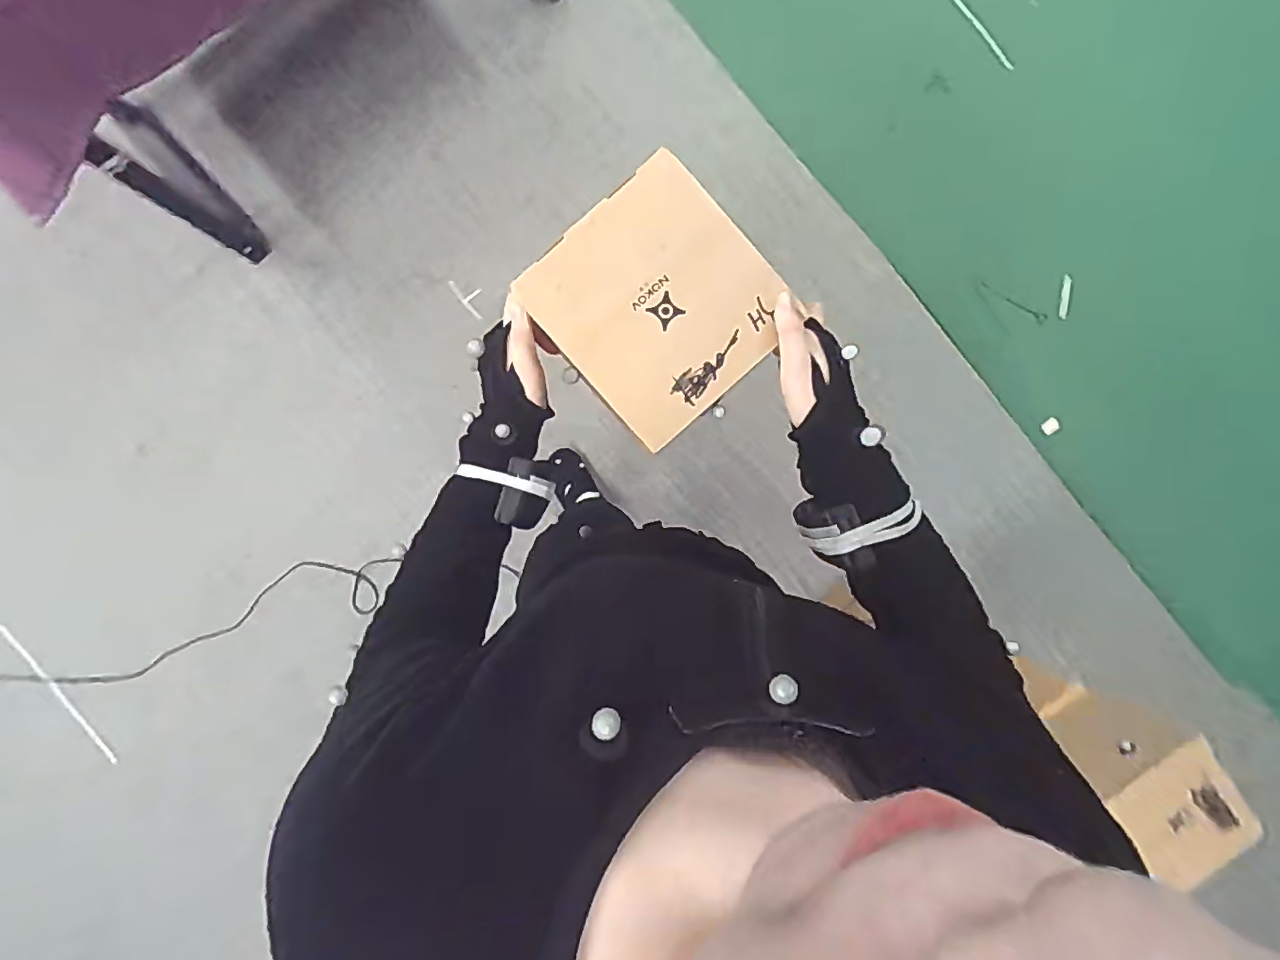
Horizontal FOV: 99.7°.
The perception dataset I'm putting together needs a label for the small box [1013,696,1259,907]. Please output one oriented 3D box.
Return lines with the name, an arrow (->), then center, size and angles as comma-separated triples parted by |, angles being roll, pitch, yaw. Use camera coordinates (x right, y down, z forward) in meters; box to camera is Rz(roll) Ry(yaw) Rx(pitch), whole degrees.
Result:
small box -> 0.715, 0.457, 0.801 | 0.179, 0.176, 0.168 | -33, 91, -1
